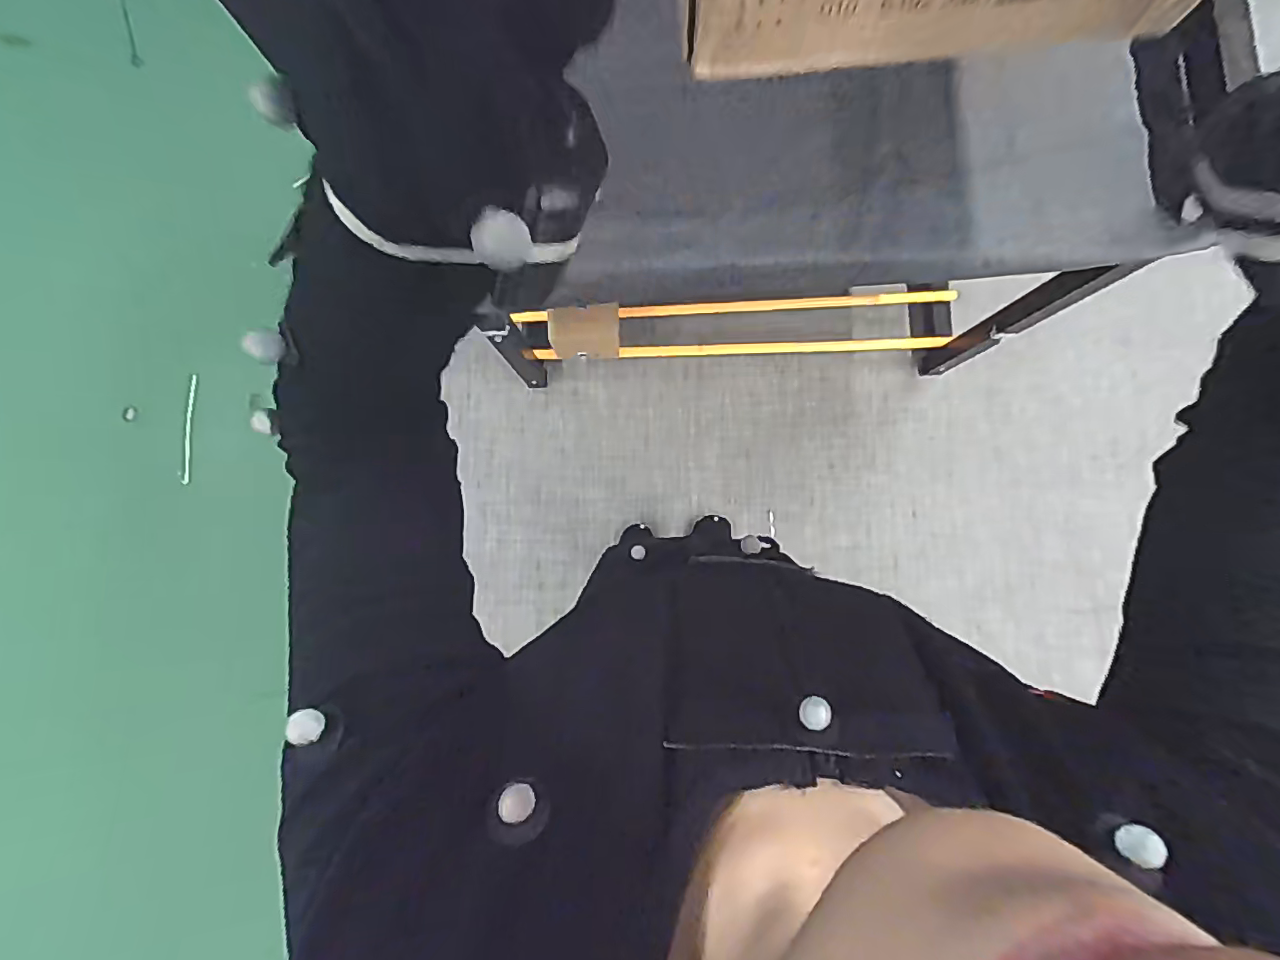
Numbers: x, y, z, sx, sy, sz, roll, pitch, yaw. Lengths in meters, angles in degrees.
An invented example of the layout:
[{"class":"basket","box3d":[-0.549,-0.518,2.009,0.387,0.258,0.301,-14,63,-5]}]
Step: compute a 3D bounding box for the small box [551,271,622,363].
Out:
[{"class":"small box","box3d":[-0.131,-0.408,1.372,0.168,0.176,0.179,-2,86,0]}]
